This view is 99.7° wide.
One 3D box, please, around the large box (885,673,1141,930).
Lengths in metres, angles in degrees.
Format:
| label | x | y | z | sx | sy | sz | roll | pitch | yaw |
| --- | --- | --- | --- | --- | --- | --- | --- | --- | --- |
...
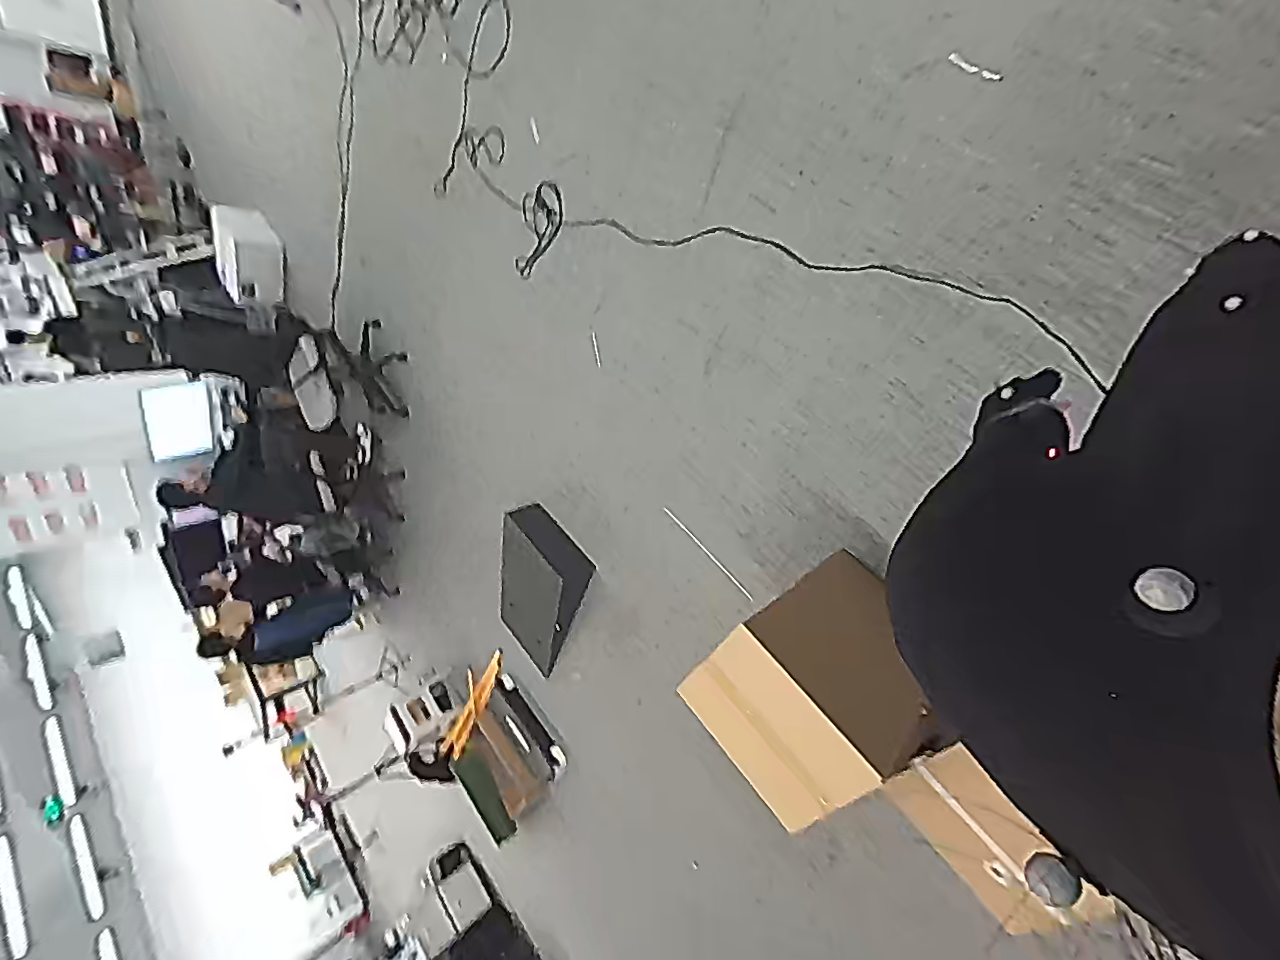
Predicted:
| label | x | y | z | sx | sy | sz | roll | pitch | yaw |
| --- | --- | --- | --- | --- | --- | --- | --- | --- | --- |
| large box | 0.918 | 0.779 | 1.350 | 0.408 | 0.320 | 0.320 | 47 | 132 | 21 |
